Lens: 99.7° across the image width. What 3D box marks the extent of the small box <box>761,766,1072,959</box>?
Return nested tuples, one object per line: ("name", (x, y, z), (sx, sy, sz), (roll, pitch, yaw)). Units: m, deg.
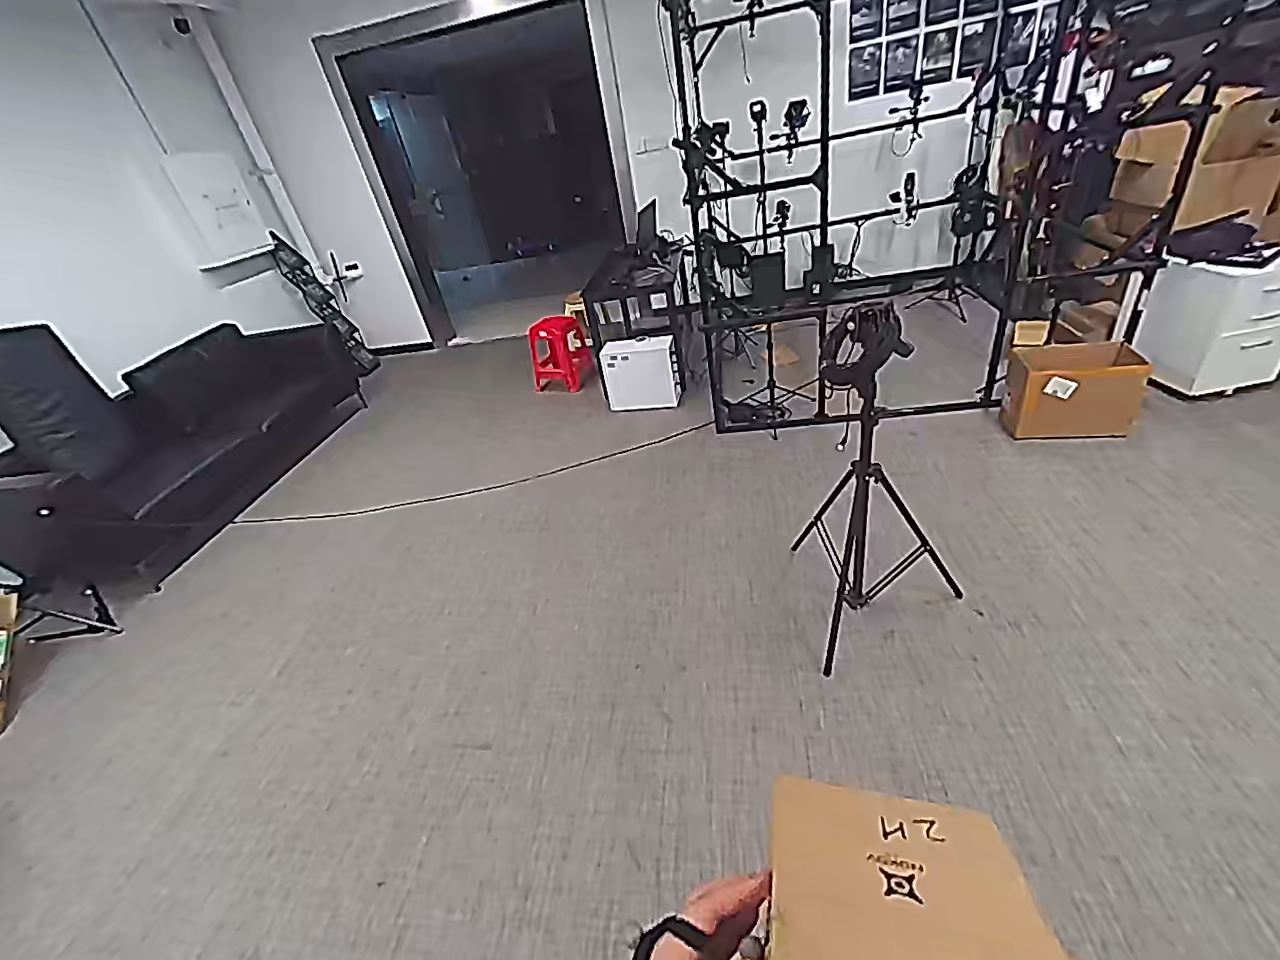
("small box", (0.168, 0.337, 0.366), (0.168, 0.176, 0.179), (4, 7, 14))
